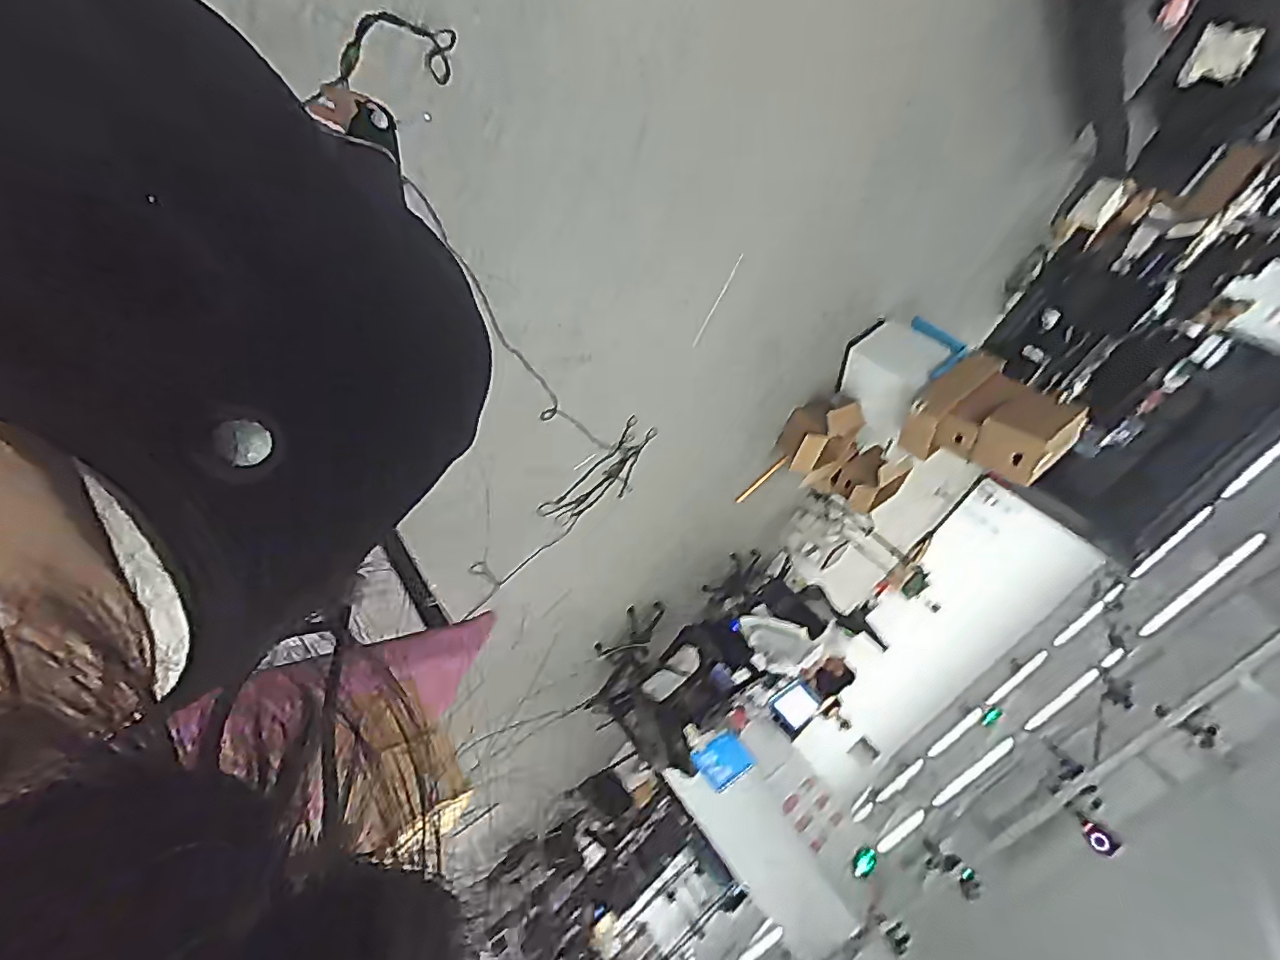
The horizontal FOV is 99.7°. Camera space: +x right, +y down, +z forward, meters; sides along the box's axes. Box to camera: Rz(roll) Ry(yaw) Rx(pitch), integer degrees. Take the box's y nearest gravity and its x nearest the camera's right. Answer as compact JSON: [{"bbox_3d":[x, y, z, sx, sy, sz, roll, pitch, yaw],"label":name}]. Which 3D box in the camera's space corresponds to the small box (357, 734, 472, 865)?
[{"bbox_3d":[-0.515,0.707,1.226,0.168,0.176,0.179,-1,127,-50],"label":"small box"}]

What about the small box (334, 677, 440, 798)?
[{"bbox_3d":[-0.620,0.616,1.313,0.168,0.176,0.179,-3,129,-49],"label":"small box"}]
